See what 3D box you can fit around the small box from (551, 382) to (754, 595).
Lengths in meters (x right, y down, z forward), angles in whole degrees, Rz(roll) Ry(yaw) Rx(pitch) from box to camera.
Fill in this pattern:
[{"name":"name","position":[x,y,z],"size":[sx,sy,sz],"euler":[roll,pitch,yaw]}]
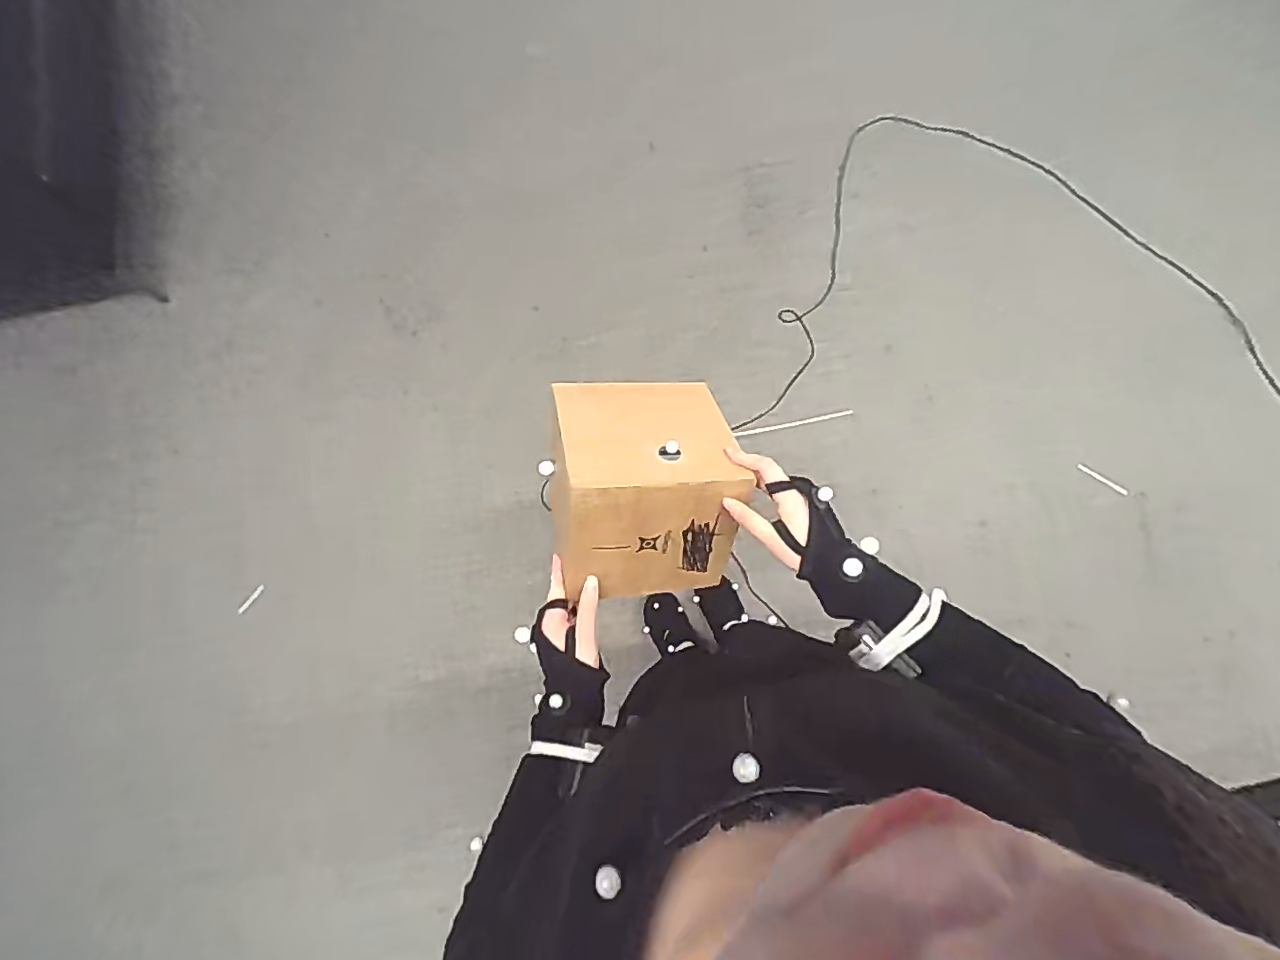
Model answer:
[{"name":"small box","position":[-0.001,0.004,0.597],"size":[0.179,0.168,0.176],"euler":[-3,44,-13]}]
